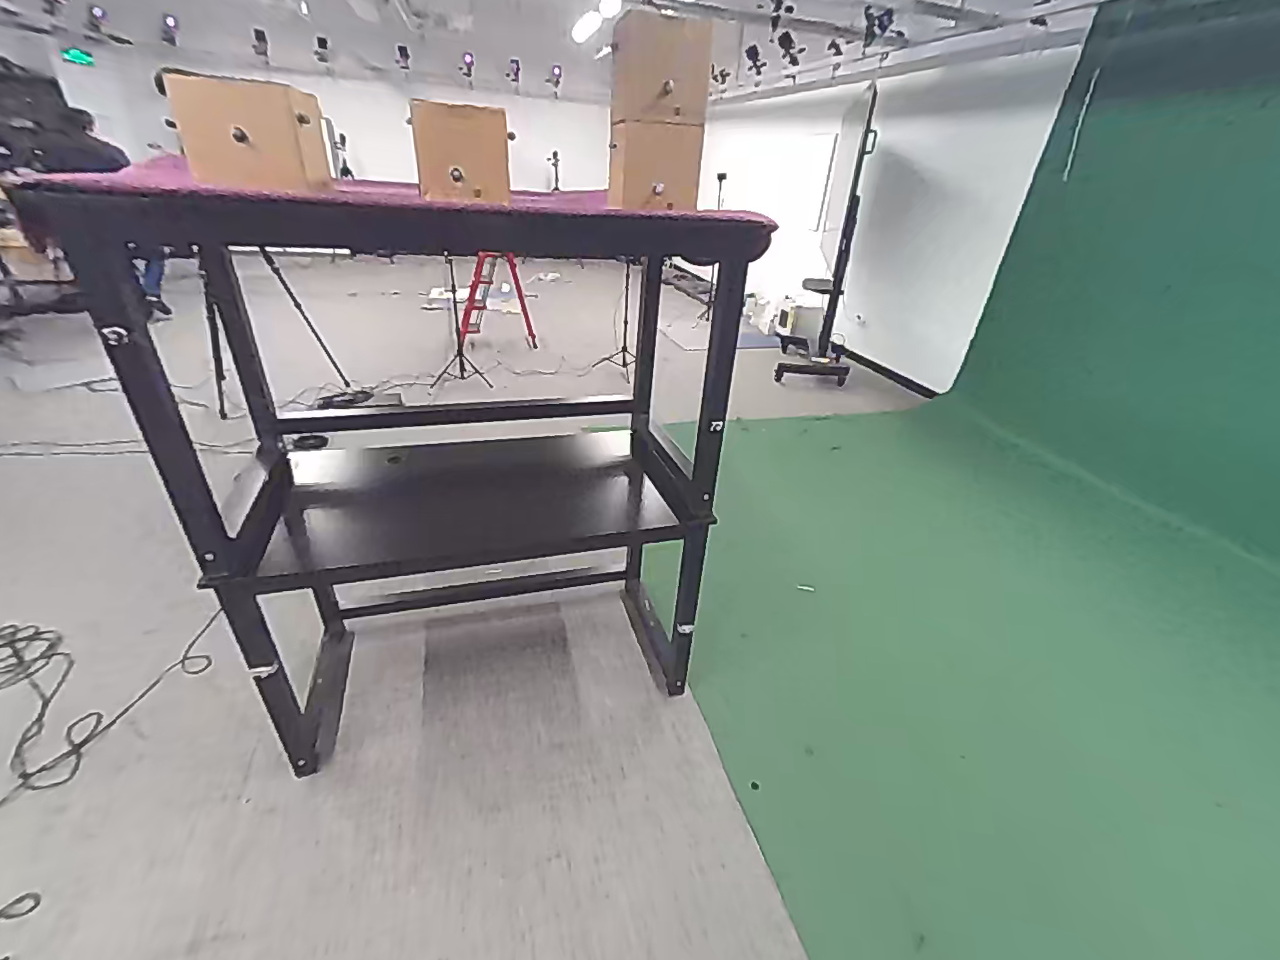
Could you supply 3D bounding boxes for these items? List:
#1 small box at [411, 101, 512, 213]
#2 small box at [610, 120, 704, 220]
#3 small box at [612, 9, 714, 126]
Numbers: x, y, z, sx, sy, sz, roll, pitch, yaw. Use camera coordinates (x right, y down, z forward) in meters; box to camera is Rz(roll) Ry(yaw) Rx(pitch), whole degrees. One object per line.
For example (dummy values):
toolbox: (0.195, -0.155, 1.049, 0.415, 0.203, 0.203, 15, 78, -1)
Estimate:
small box: (-0.343, -0.630, 1.068, 0.168, 0.176, 0.179, -4, 30, -13)
small box: (0.028, -0.666, 1.167, 0.168, 0.176, 0.179, -4, 32, -12)
small box: (0.036, -0.809, 1.086, 0.168, 0.176, 0.179, -5, 31, -11)
